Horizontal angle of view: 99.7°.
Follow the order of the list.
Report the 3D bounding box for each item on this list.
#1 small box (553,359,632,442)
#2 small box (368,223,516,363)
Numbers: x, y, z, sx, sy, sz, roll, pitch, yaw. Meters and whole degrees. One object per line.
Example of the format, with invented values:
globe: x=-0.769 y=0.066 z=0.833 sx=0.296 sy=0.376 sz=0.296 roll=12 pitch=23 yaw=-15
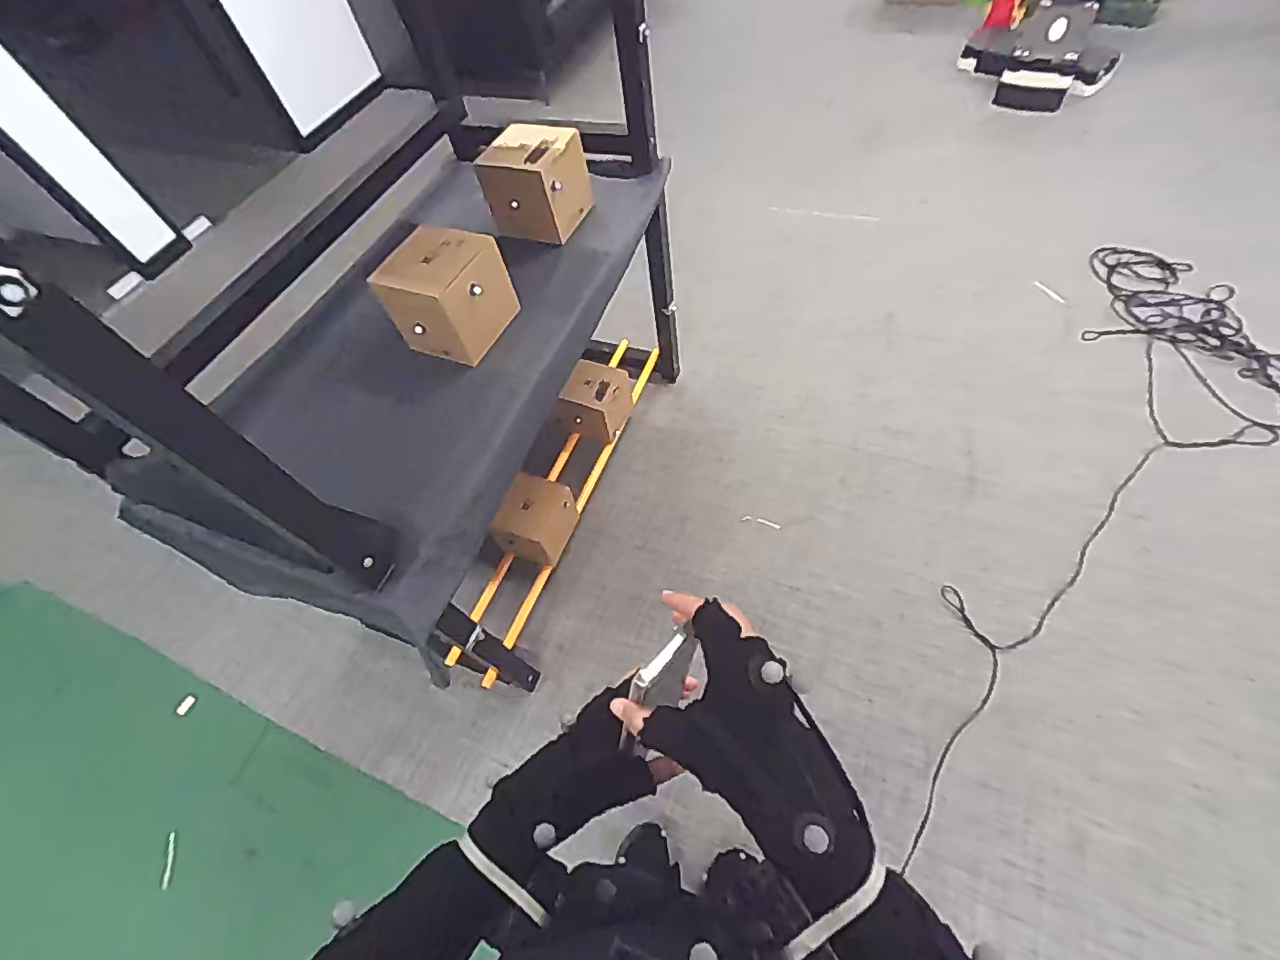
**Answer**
small box: x=-0.138 y=-0.238 z=1.665 sx=0.179 sy=0.176 sz=0.168 roll=18 pitch=62 yaw=18
small box: x=-0.360 y=-0.350 z=1.025 sx=0.168 sy=0.176 sz=0.179 roll=18 pitch=62 yaw=18
